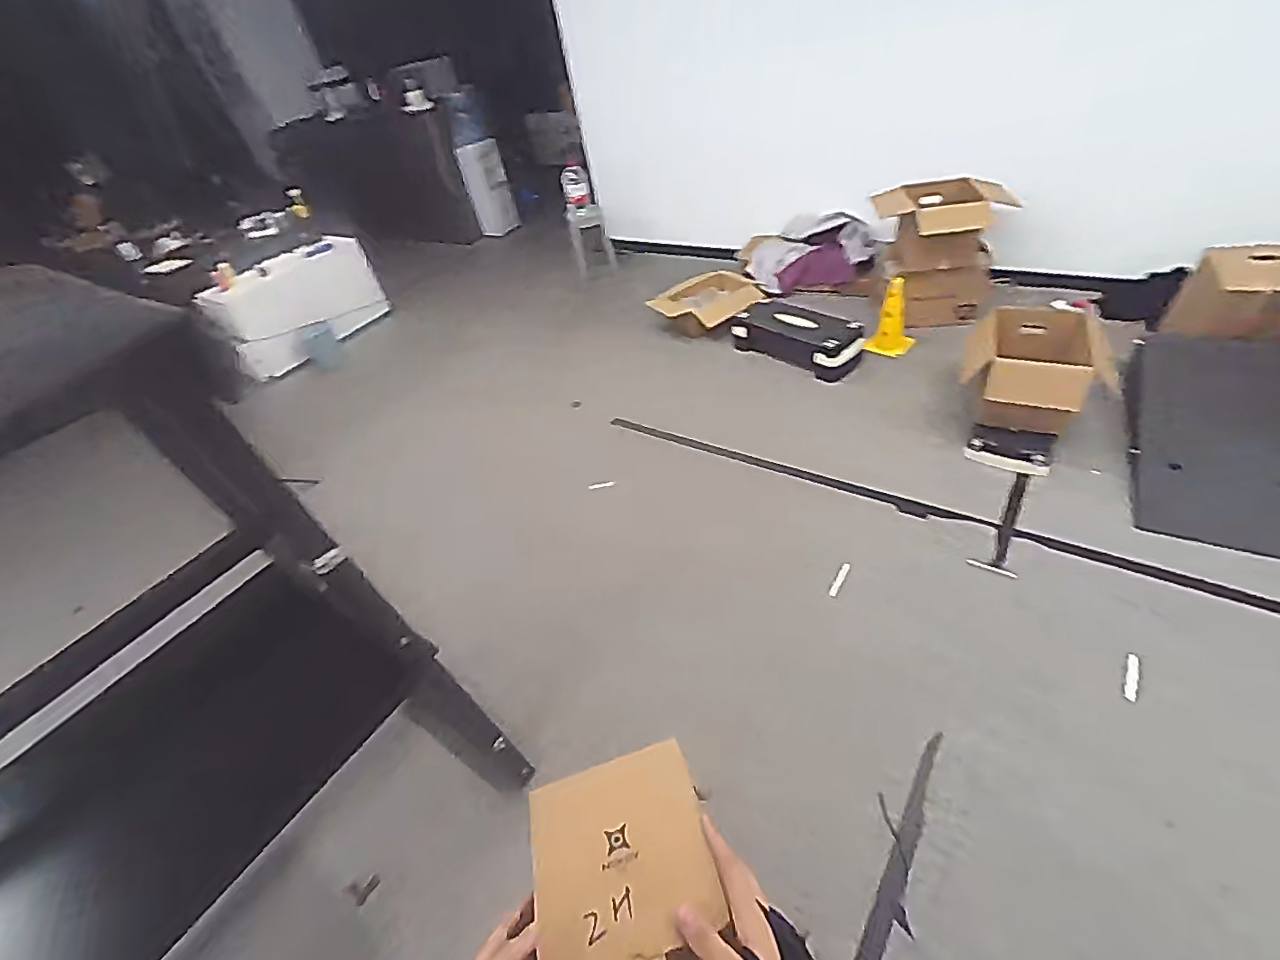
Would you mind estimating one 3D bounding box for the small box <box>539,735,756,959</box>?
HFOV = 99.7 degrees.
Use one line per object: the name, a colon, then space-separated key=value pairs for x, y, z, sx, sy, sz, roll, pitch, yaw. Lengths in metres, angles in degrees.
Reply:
small box: x=0.005 y=0.404 z=0.547 sx=0.168 sy=0.176 sz=0.179 roll=-19 pitch=33 yaw=-2
